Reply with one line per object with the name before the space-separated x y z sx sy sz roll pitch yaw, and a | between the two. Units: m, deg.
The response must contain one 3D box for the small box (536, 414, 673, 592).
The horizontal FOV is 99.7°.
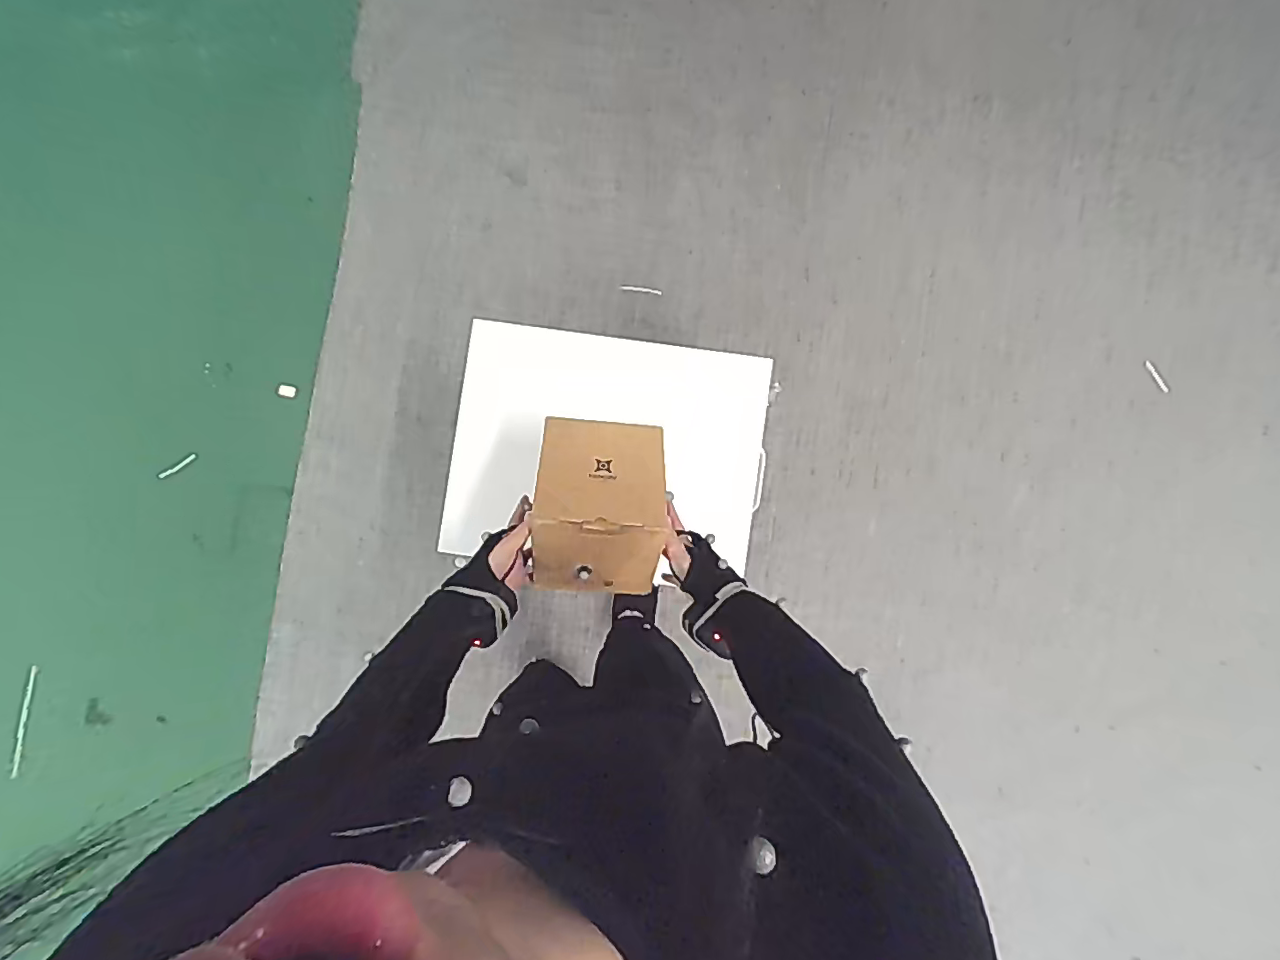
small box | -0.052 0.033 0.745 0.168 0.176 0.179 3 49 -6
